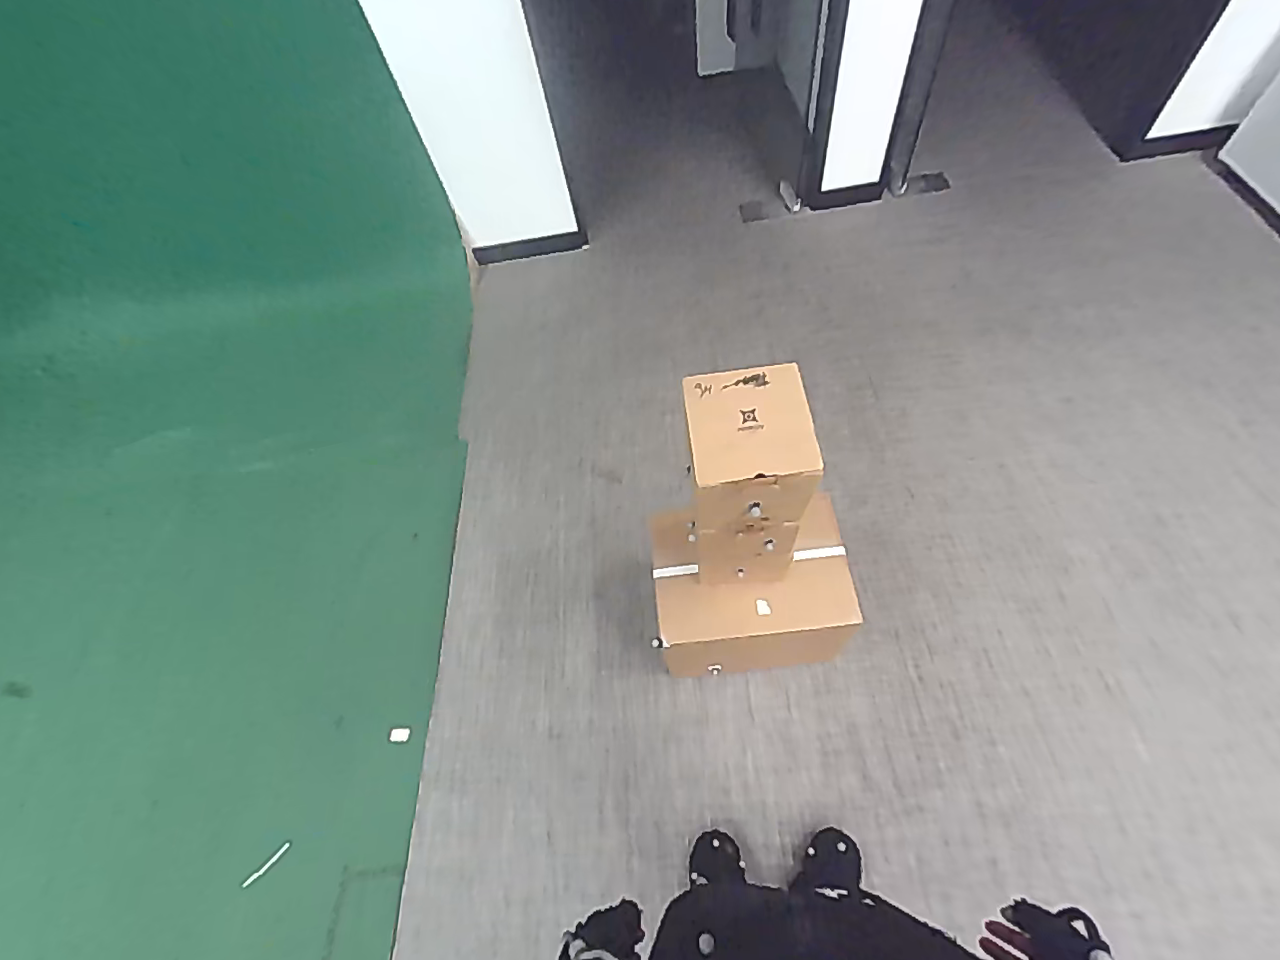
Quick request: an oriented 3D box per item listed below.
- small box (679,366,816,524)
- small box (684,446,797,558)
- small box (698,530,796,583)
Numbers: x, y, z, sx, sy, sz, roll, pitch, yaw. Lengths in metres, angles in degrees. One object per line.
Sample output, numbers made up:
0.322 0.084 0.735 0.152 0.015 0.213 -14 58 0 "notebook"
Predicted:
0.153 -0.041 0.809 0.168 0.176 0.179 -7 65 4 "small box"
0.172 0.032 0.954 0.168 0.176 0.179 -7 63 4 "small box"
0.203 0.104 1.096 0.179 0.176 0.168 -7 65 4 "small box"
